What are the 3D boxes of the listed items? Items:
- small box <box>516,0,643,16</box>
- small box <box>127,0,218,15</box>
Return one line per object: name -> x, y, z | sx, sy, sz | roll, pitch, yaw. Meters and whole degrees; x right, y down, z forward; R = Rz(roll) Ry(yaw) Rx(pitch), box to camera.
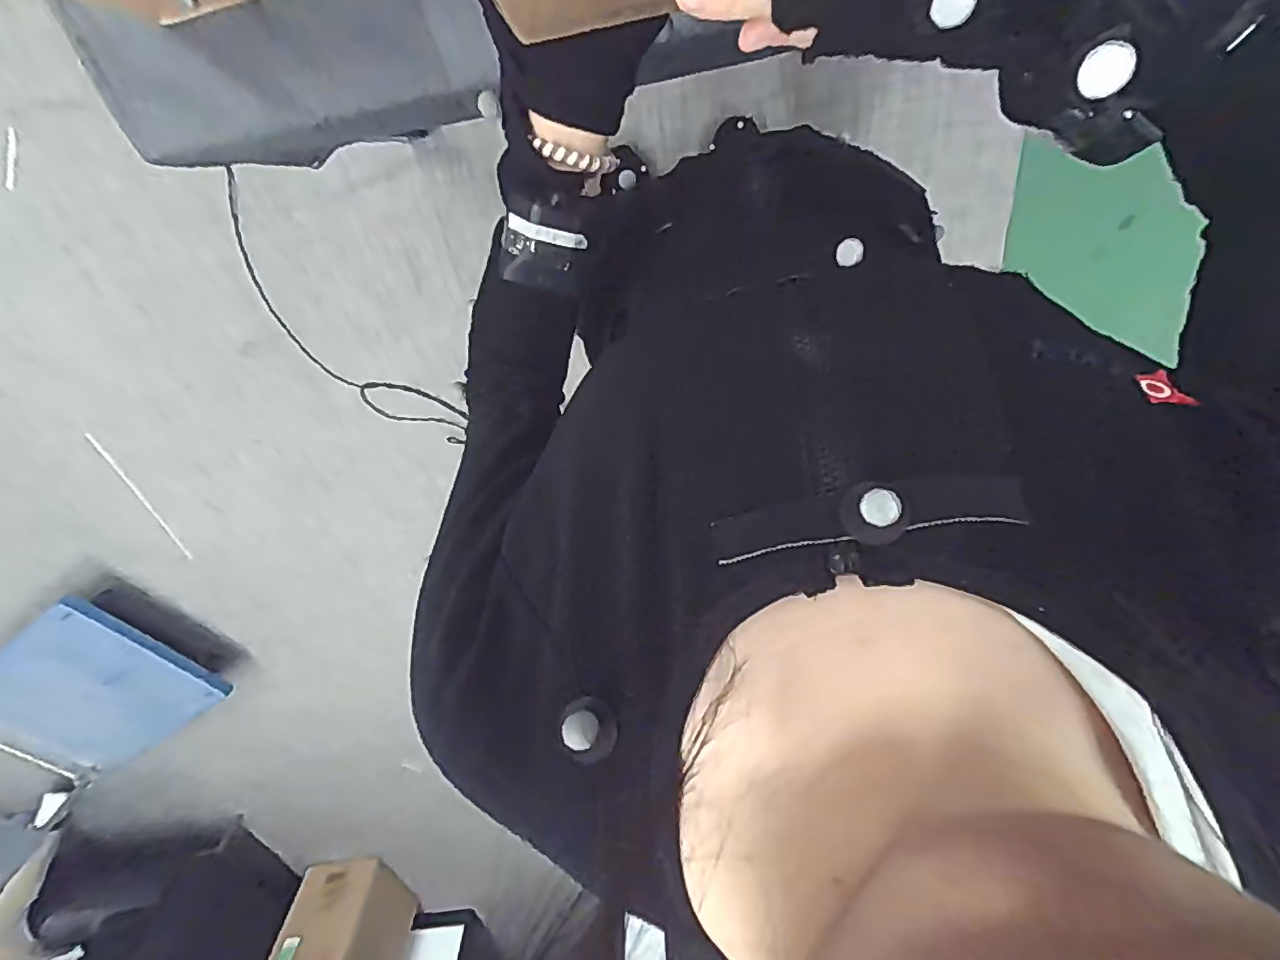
small box -> 0.006, -0.287, 0.179 | 0.168, 0.176, 0.179 | -10, 121, 1
small box -> -0.395, -0.483, 0.391 | 0.168, 0.176, 0.179 | -11, 121, 5
